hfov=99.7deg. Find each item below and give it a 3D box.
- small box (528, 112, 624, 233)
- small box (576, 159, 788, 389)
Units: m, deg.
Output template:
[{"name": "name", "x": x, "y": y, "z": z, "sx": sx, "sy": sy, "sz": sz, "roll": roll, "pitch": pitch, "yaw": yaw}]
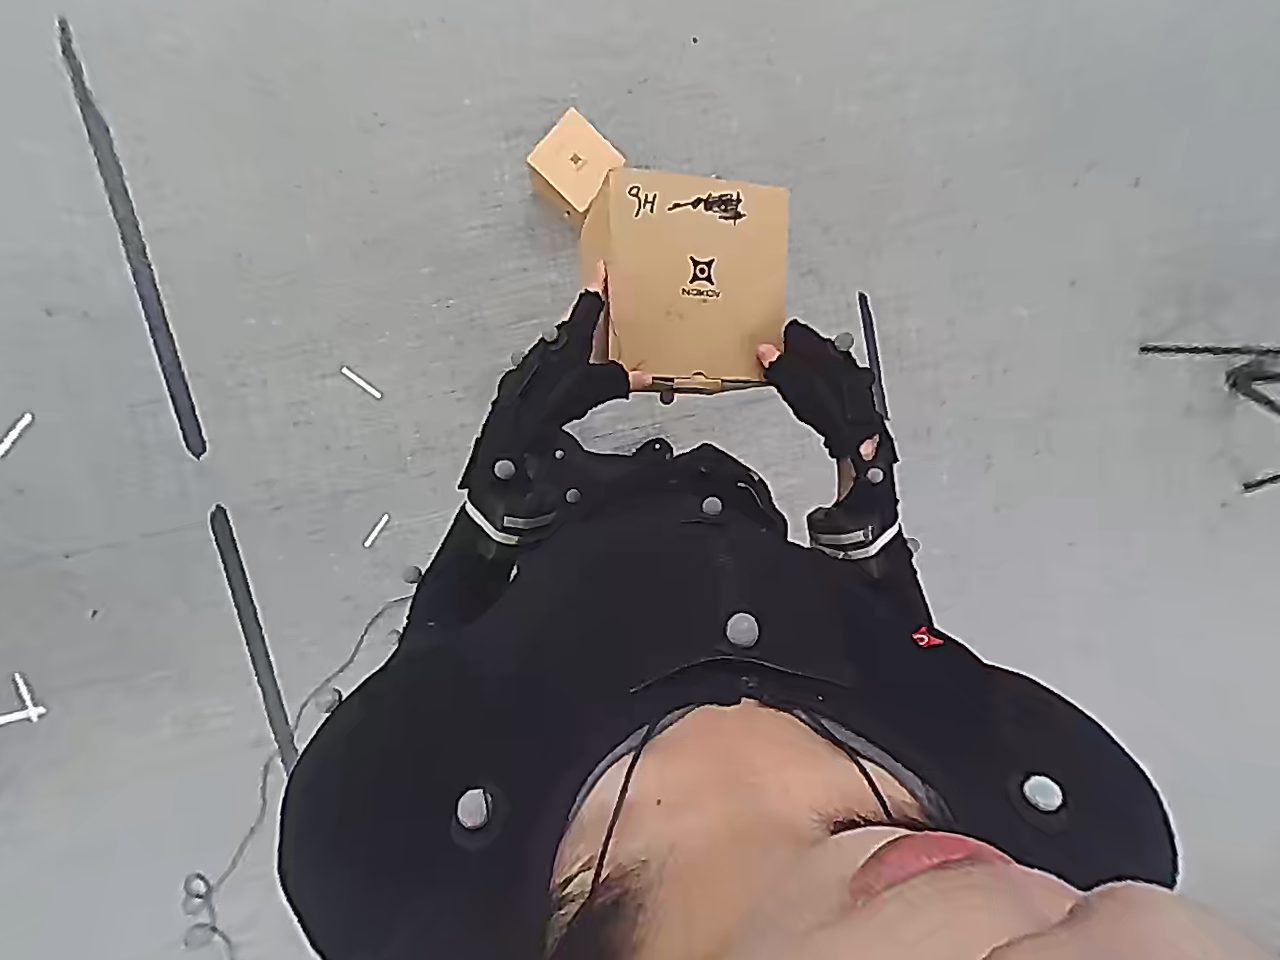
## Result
[{"name": "small box", "x": -0.148, "y": -0.740, "z": 1.332, "sx": 0.179, "sy": 0.176, "sz": 0.168, "roll": 41, "pitch": 90, "yaw": -7}, {"name": "small box", "x": 0.030, "y": -0.183, "z": 0.539, "sx": 0.168, "sy": 0.176, "sz": 0.179, "roll": -1, "pitch": 96, "yaw": -14}]
